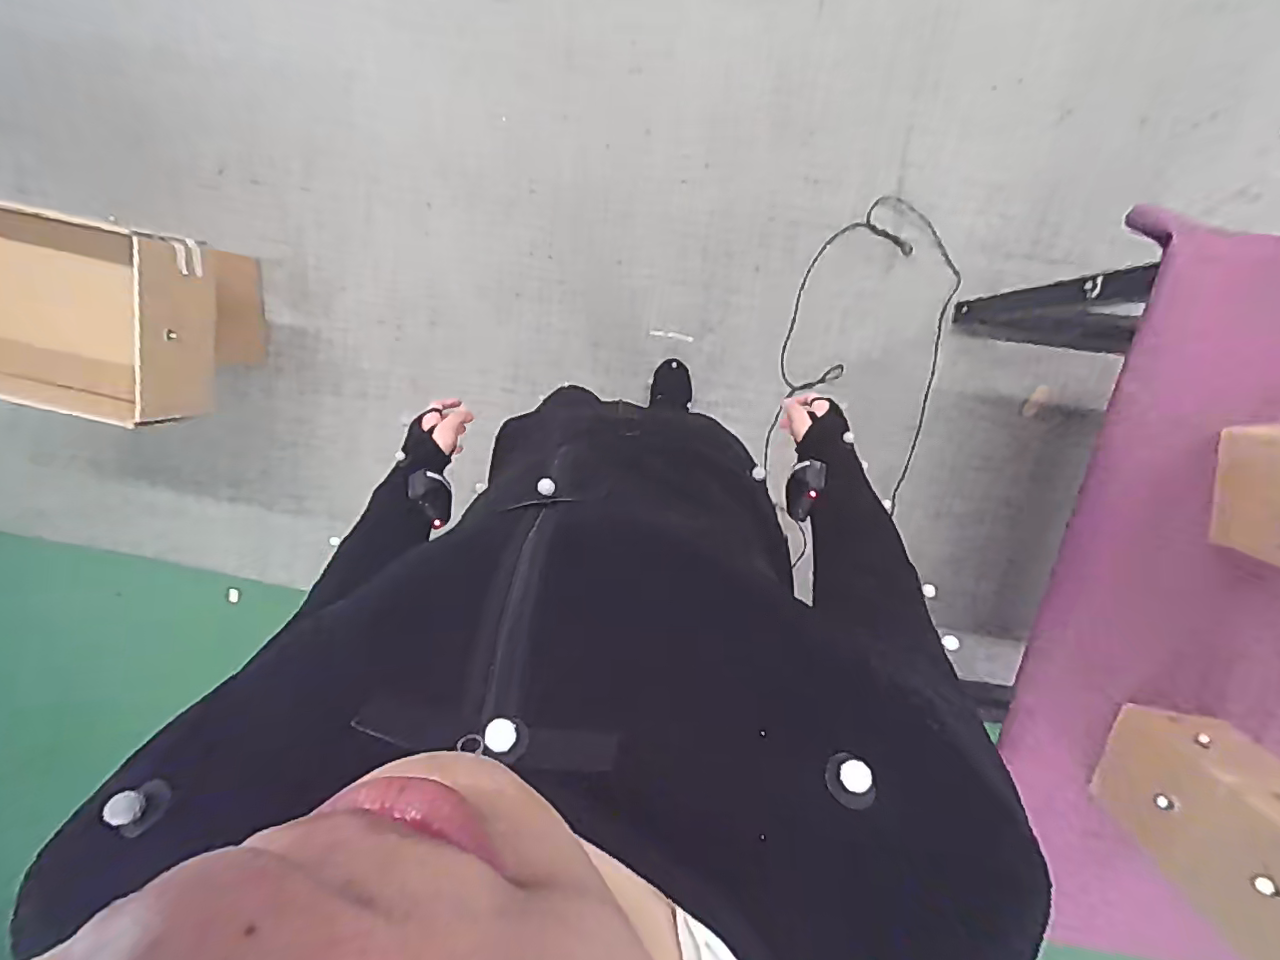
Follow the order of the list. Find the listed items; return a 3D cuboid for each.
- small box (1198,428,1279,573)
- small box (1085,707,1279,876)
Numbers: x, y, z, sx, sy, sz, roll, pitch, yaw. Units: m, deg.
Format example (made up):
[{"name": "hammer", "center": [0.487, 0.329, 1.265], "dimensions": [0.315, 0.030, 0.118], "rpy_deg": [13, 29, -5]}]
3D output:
[{"name": "small box", "center": [0.926, 0.027, 0.734], "dimensions": [0.168, 0.176, 0.179], "rpy_deg": [-5, 102, 5]}, {"name": "small box", "center": [0.851, 0.485, 0.841], "dimensions": [0.168, 0.176, 0.179], "rpy_deg": [11, 103, 2]}]
